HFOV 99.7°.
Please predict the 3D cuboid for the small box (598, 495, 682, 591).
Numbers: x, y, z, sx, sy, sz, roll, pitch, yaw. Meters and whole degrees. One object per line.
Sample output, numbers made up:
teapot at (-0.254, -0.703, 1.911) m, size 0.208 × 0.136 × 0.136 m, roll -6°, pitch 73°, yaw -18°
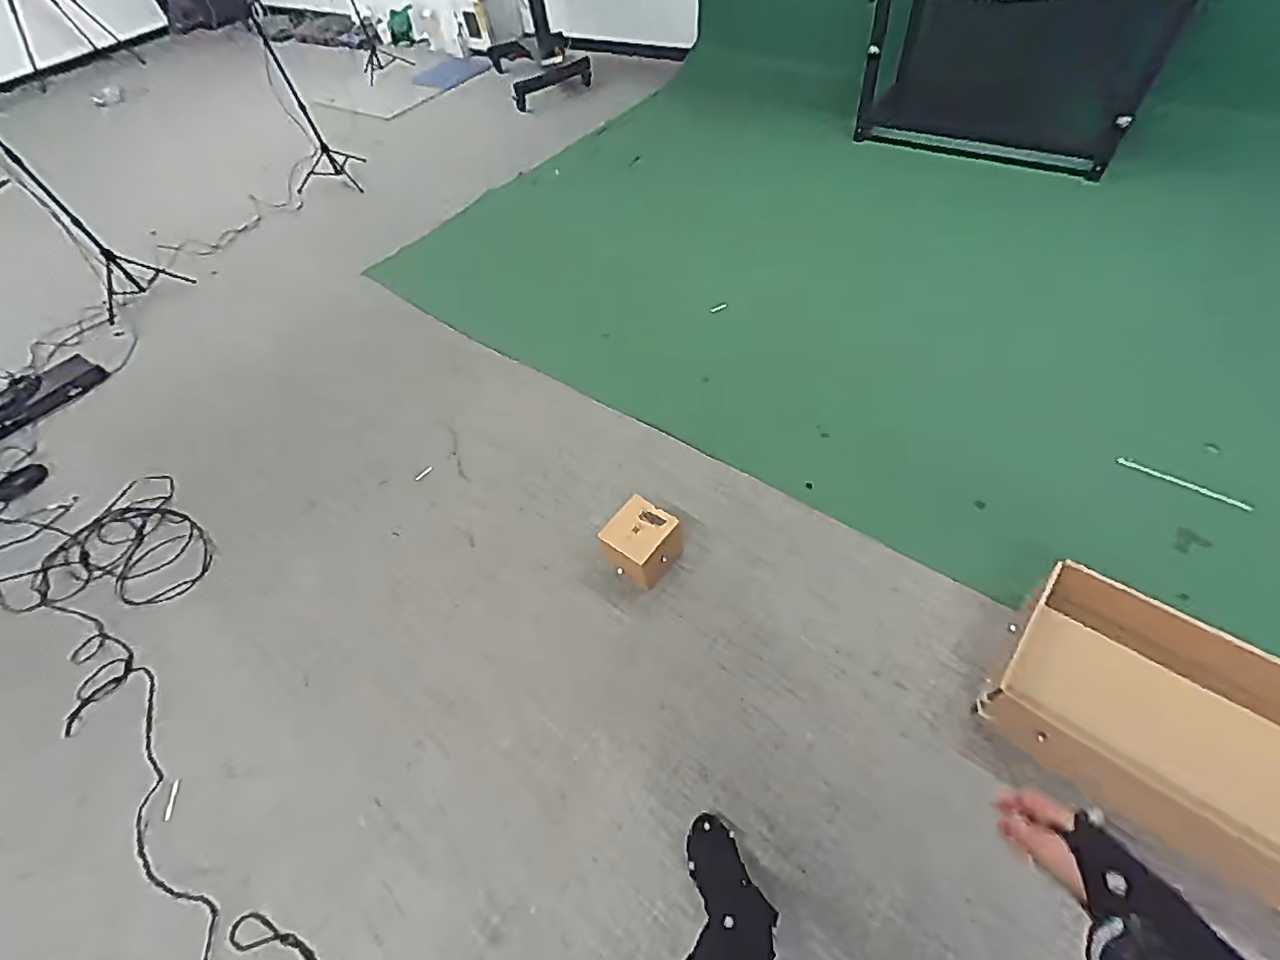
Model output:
small box at (0.007, 0.182, 1.551) m, size 0.168 × 0.176 × 0.179 m, roll 31°, pitch 65°, yaw 27°
